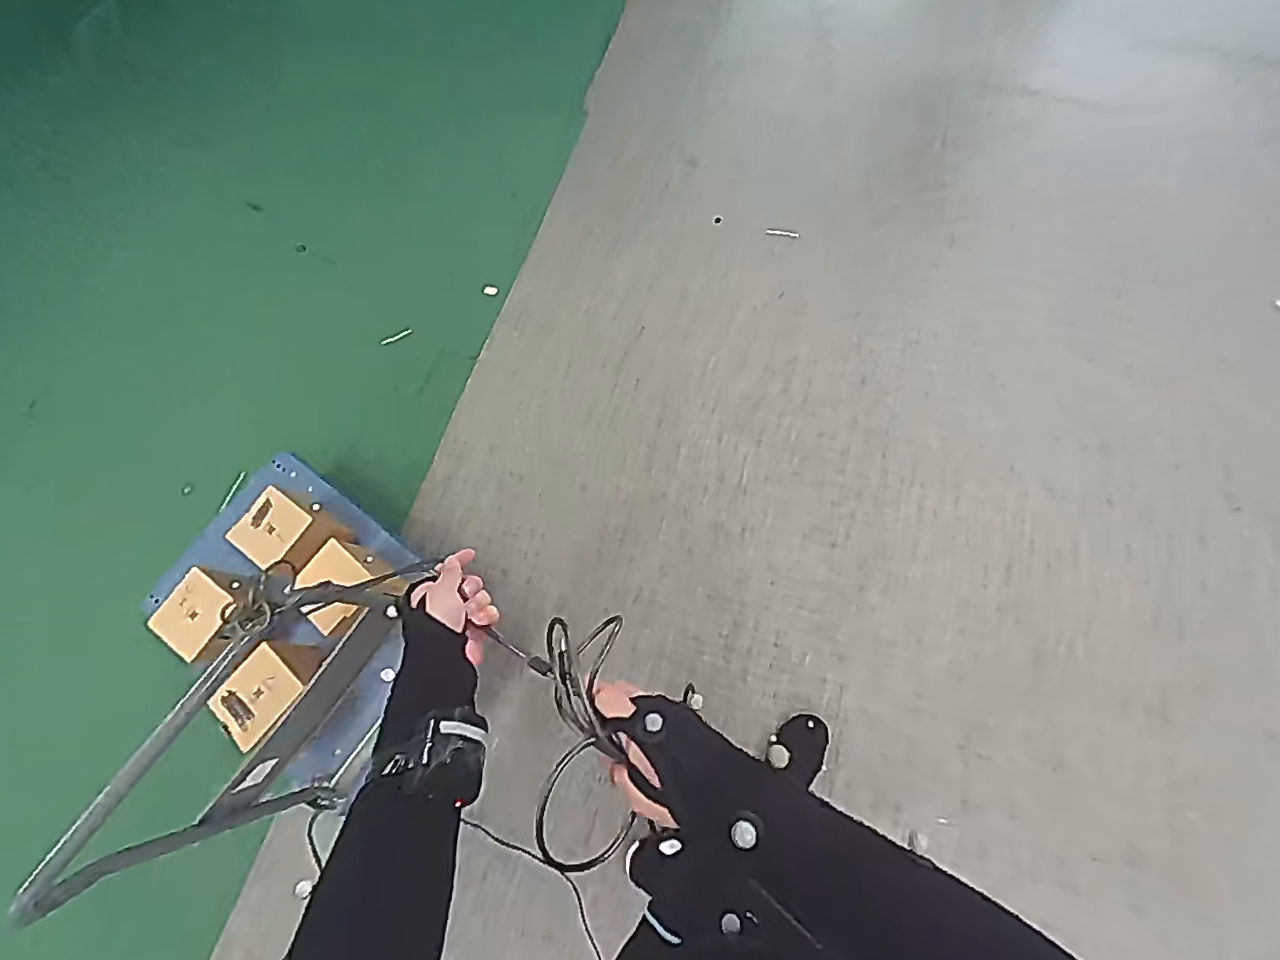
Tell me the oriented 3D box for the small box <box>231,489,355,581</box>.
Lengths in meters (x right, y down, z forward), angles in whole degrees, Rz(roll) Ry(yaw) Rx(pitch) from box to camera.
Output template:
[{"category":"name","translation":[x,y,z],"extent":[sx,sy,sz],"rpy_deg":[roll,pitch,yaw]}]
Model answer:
[{"category":"small box","translation":[-0.902,0.155,1.420],"extent":[0.179,0.176,0.168],"rpy_deg":[32,79,17]}]

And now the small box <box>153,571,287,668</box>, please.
[{"category":"small box","translation":[-1.053,0.356,1.373],"extent":[0.179,0.176,0.168],"rpy_deg":[30,77,17]}]

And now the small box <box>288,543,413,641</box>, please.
[{"category":"small box","translation":[-0.711,0.286,1.346],"extent":[0.179,0.176,0.168],"rpy_deg":[35,79,17]}]
